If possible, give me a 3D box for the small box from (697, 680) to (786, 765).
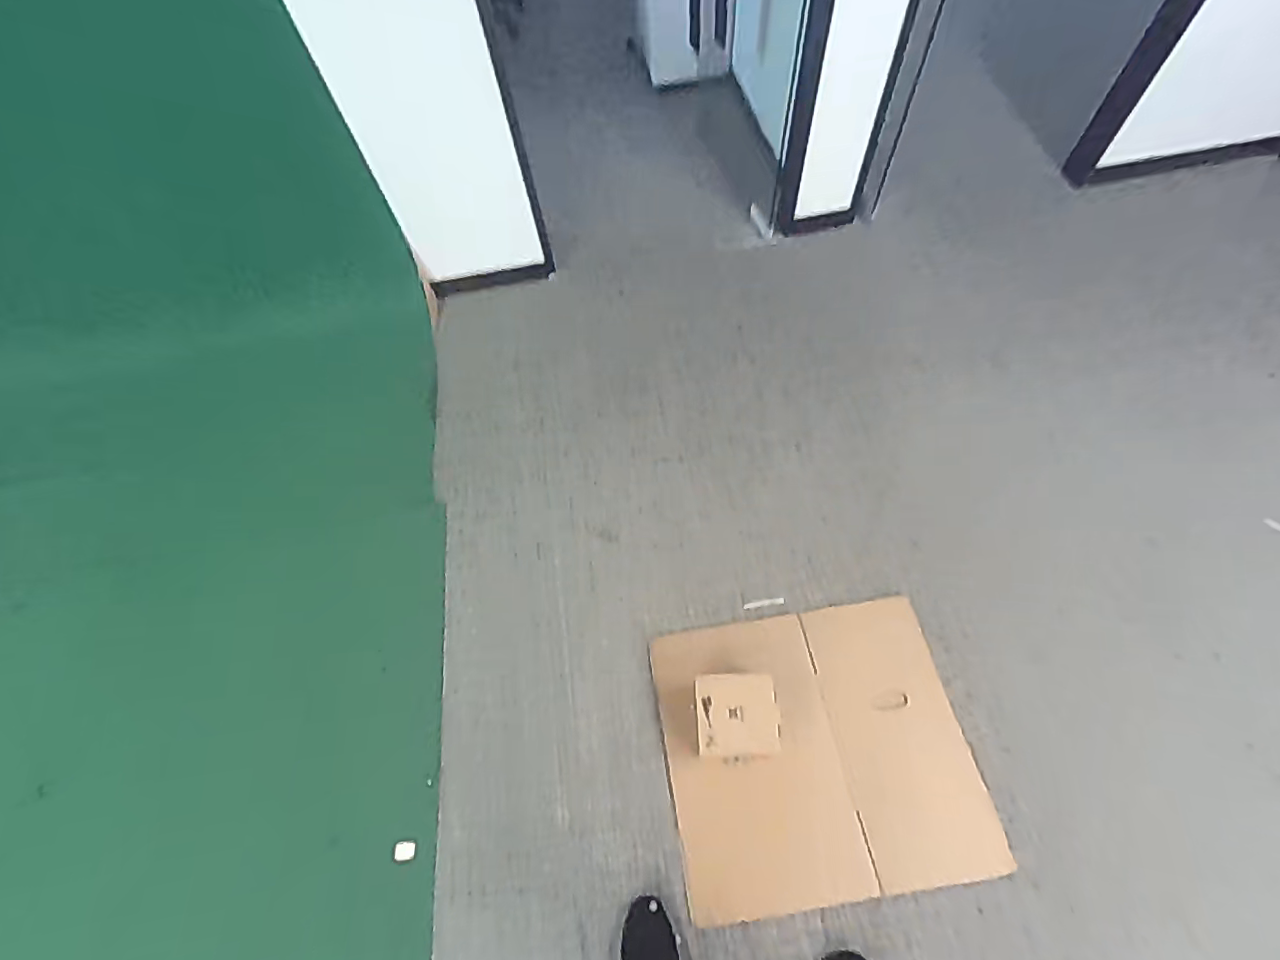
[{"bbox_3d":[0.224,0.556,1.237,0.179,0.176,0.168,-2,60,3],"label":"small box"}]
